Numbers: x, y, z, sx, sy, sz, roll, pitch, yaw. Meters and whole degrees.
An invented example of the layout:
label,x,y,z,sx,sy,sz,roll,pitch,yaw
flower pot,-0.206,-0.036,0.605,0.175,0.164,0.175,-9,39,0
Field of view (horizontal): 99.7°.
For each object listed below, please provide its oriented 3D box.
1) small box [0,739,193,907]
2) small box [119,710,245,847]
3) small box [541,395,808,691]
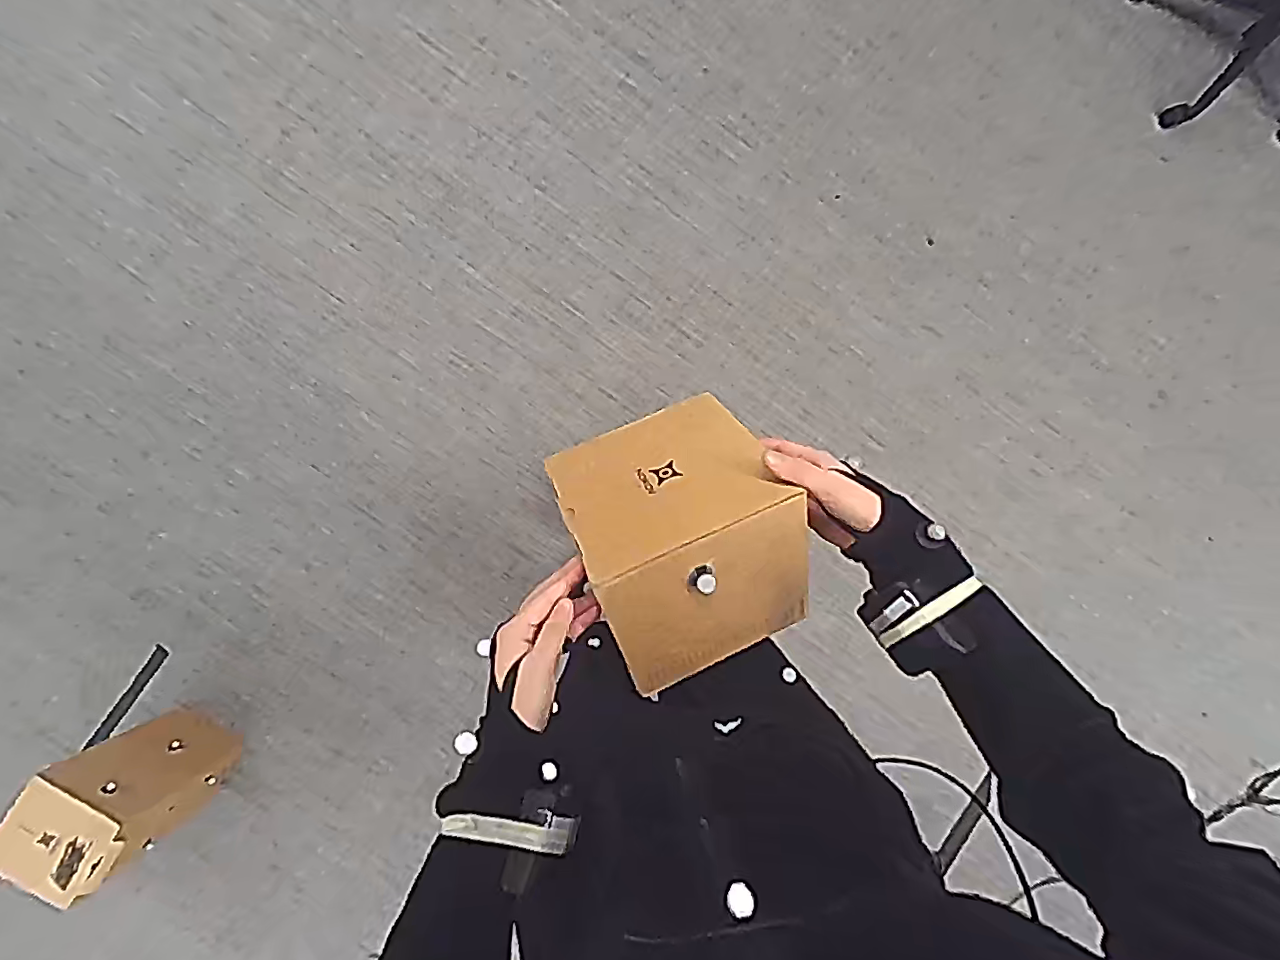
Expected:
label,x,y,z,sx,sy,sz,roll,pitch,yaw
small box,-0.997,0.617,1.000,0.179,0.176,0.168,32,85,-2
small box,-1.013,0.628,1.164,0.179,0.176,0.168,31,85,-2
small box,0.033,0.056,0.498,0.179,0.168,0.176,-25,132,-8
